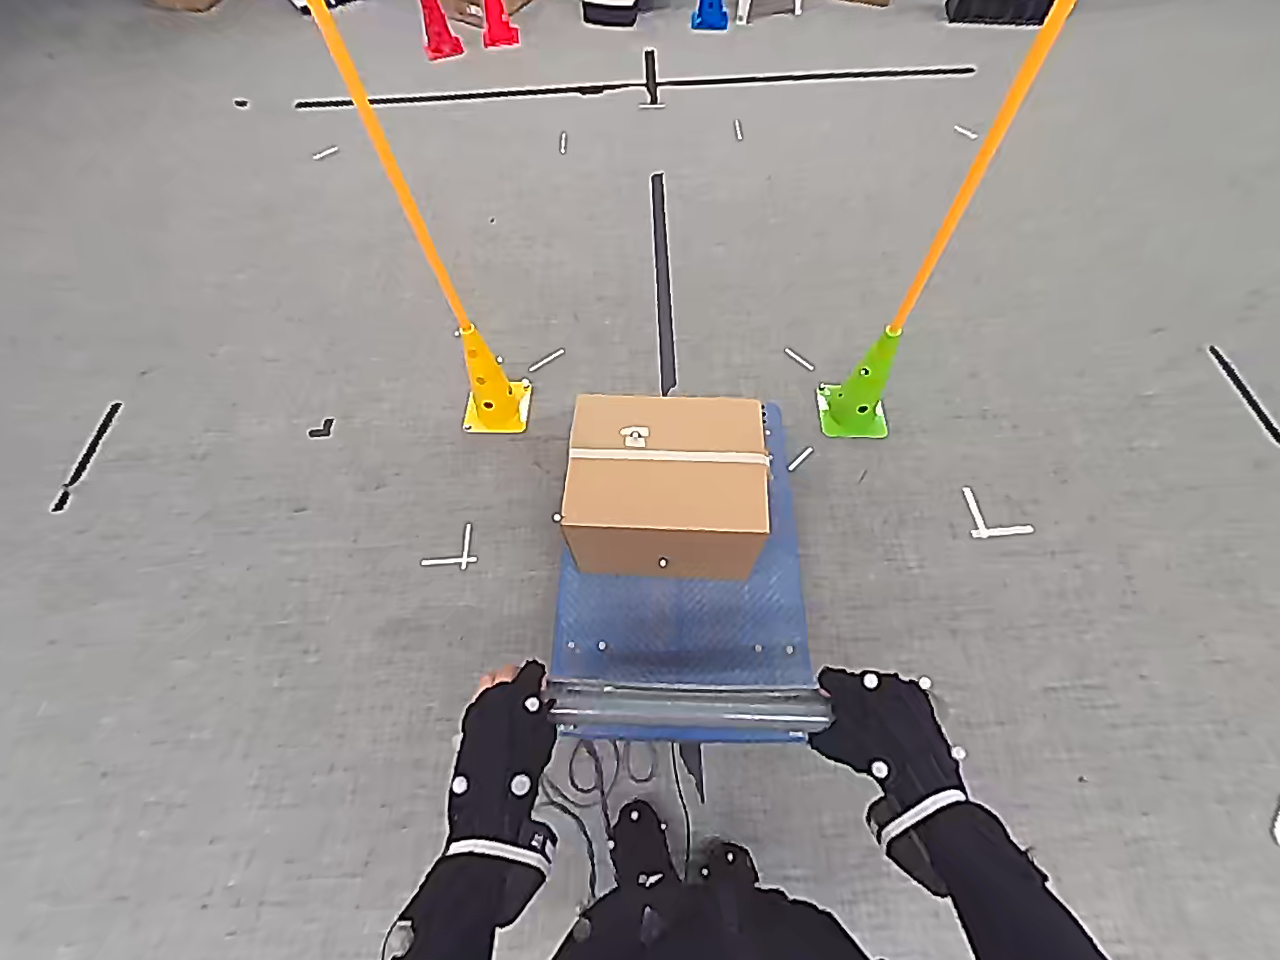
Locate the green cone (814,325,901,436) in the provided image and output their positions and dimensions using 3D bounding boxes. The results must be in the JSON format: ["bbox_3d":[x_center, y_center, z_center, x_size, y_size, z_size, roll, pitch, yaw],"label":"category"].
[{"bbox_3d":[0.665,-0.306,1.579,0.202,0.368,0.200,1,62,1],"label":"green cone"}]

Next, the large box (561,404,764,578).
[{"bbox_3d":[0.055,0.036,1.251,0.408,0.320,0.320,1,62,4],"label":"large box"}]
